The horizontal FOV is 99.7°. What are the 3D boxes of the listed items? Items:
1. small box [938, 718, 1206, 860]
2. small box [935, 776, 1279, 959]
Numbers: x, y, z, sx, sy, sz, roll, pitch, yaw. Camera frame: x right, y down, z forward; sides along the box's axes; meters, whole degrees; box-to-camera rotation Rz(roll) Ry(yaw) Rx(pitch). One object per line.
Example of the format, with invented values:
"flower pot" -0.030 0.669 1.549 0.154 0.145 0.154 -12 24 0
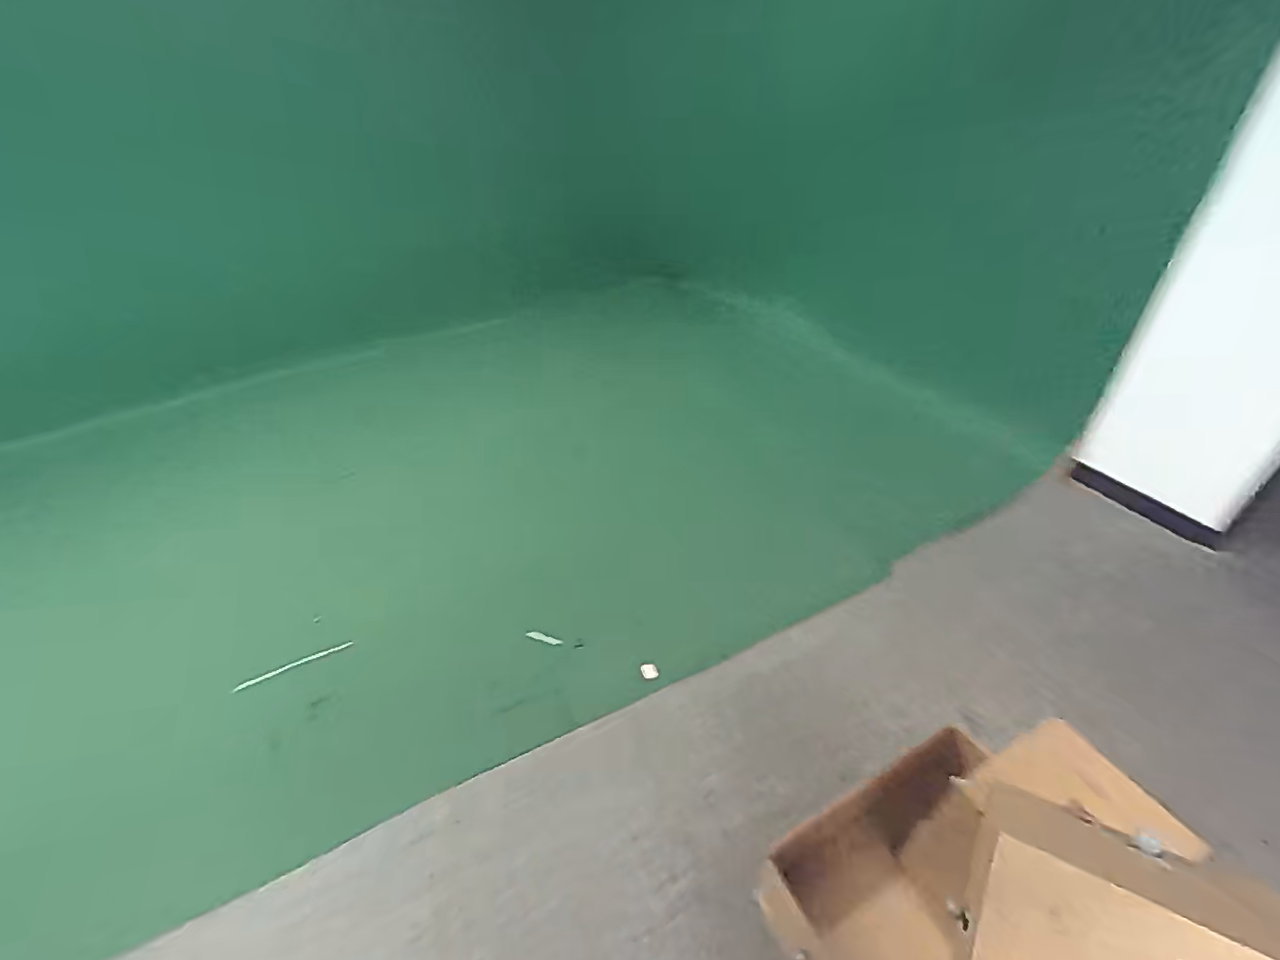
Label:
"small box" 0.495 0.434 0.655 0.179 0.176 0.168 -20 43 -16
"small box" 0.289 0.325 0.343 0.168 0.176 0.179 12 82 33
